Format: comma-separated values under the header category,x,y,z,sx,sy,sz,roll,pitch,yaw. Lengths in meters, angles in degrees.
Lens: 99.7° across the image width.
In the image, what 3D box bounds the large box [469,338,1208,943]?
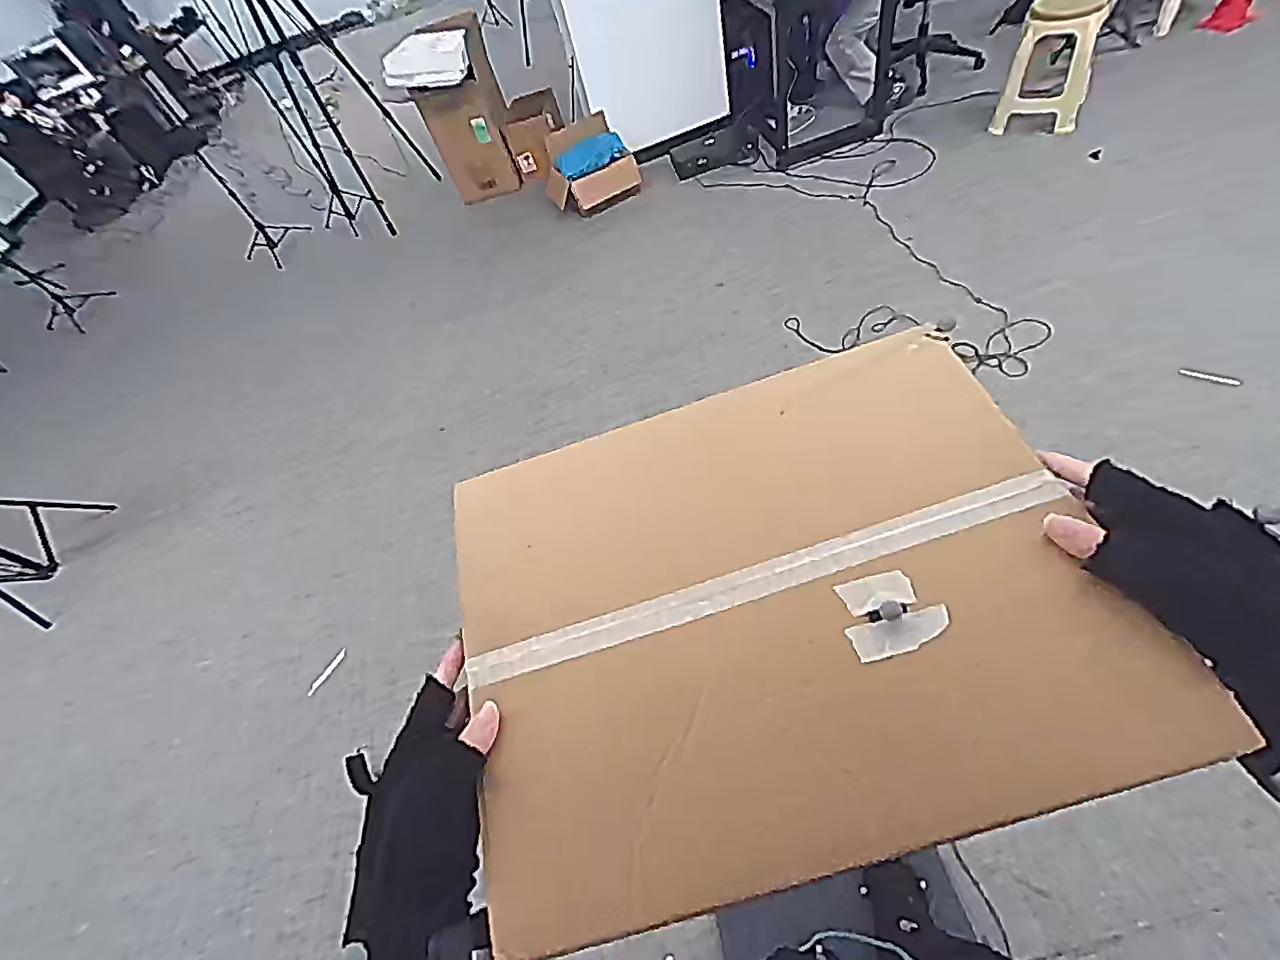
category,x,y,z,sx,sy,sz,roll,pitch,yaw
large box,0.108,0.143,0.498,0.408,0.320,0.320,-19,59,2
